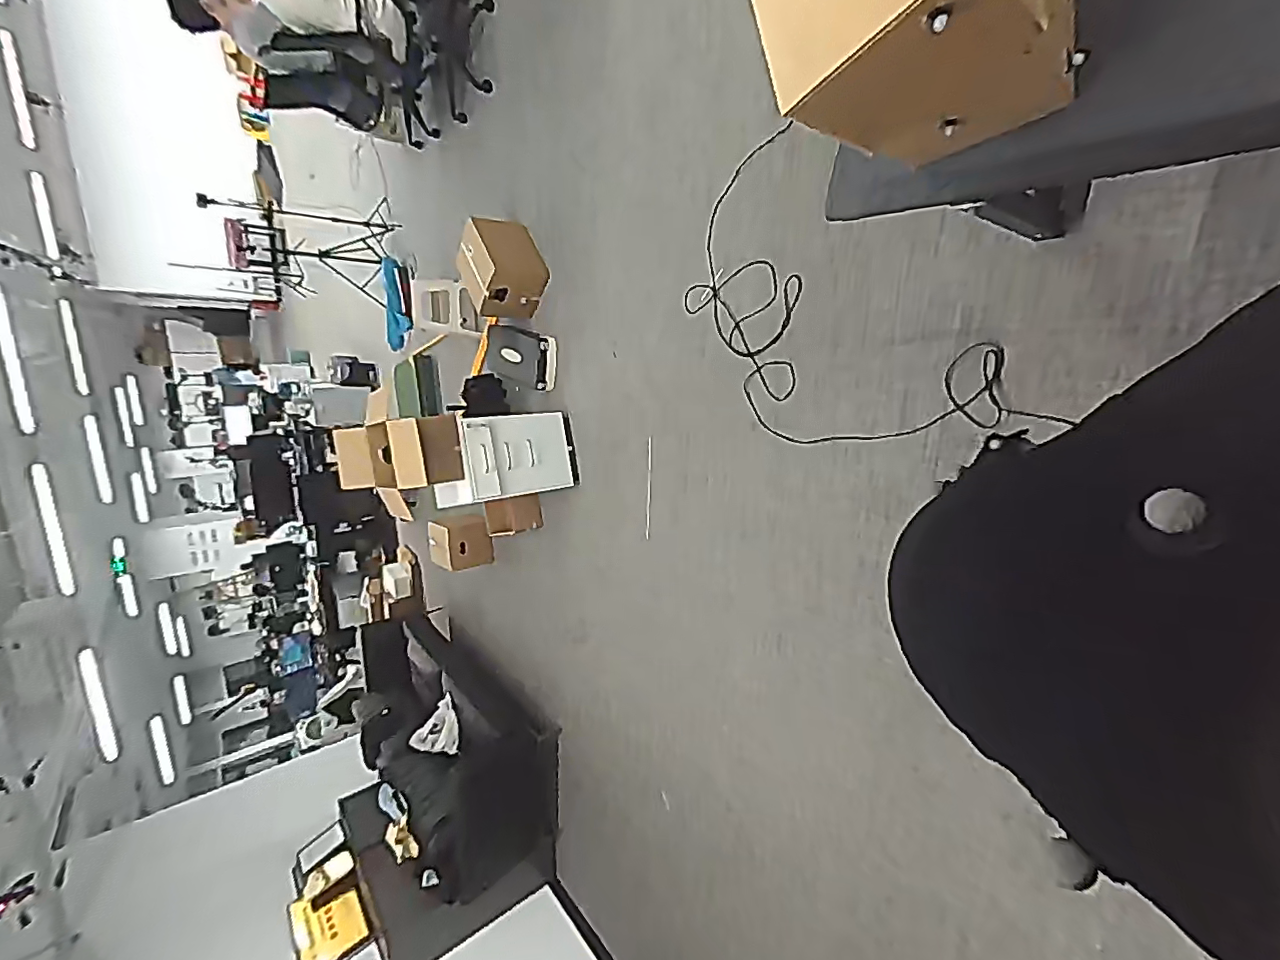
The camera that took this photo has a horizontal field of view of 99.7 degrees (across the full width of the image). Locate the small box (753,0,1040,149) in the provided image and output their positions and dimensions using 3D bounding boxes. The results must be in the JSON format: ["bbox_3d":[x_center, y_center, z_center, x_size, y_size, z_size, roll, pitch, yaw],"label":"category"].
[{"bbox_3d":[0.234,-0.454,0.510,0.179,0.176,0.168,-18,84,51],"label":"small box"}]

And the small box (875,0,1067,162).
[{"bbox_3d":[0.358,-0.492,0.609,0.179,0.176,0.168,2,100,52],"label":"small box"}]
